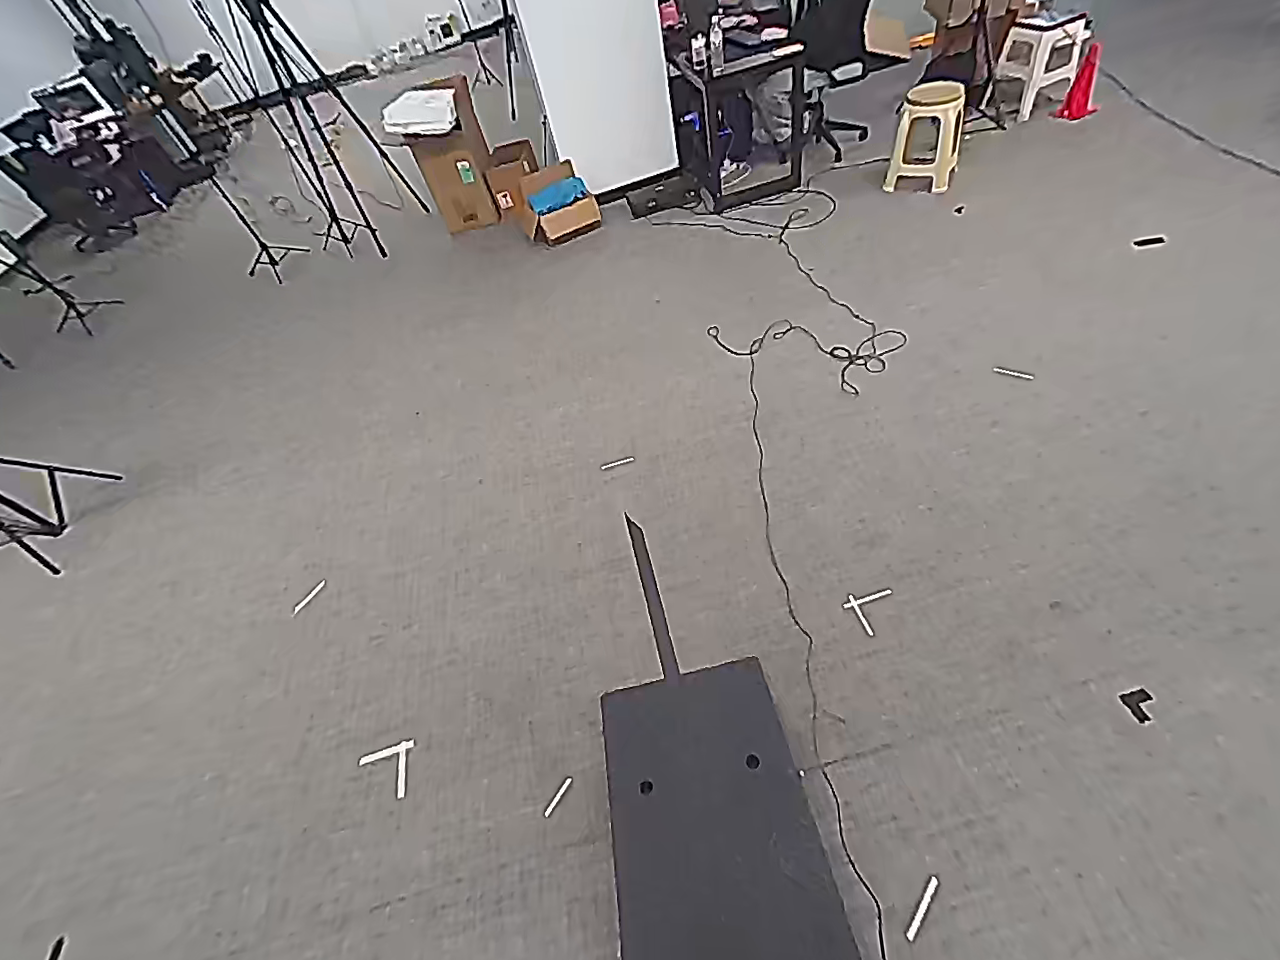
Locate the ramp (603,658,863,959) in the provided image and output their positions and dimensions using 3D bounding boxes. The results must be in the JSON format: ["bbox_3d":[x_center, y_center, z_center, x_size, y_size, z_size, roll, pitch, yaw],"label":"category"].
[{"bbox_3d":[0.182,0.898,1.238,0.509,0.206,0.991,-17,48,2],"label":"ramp"}]
